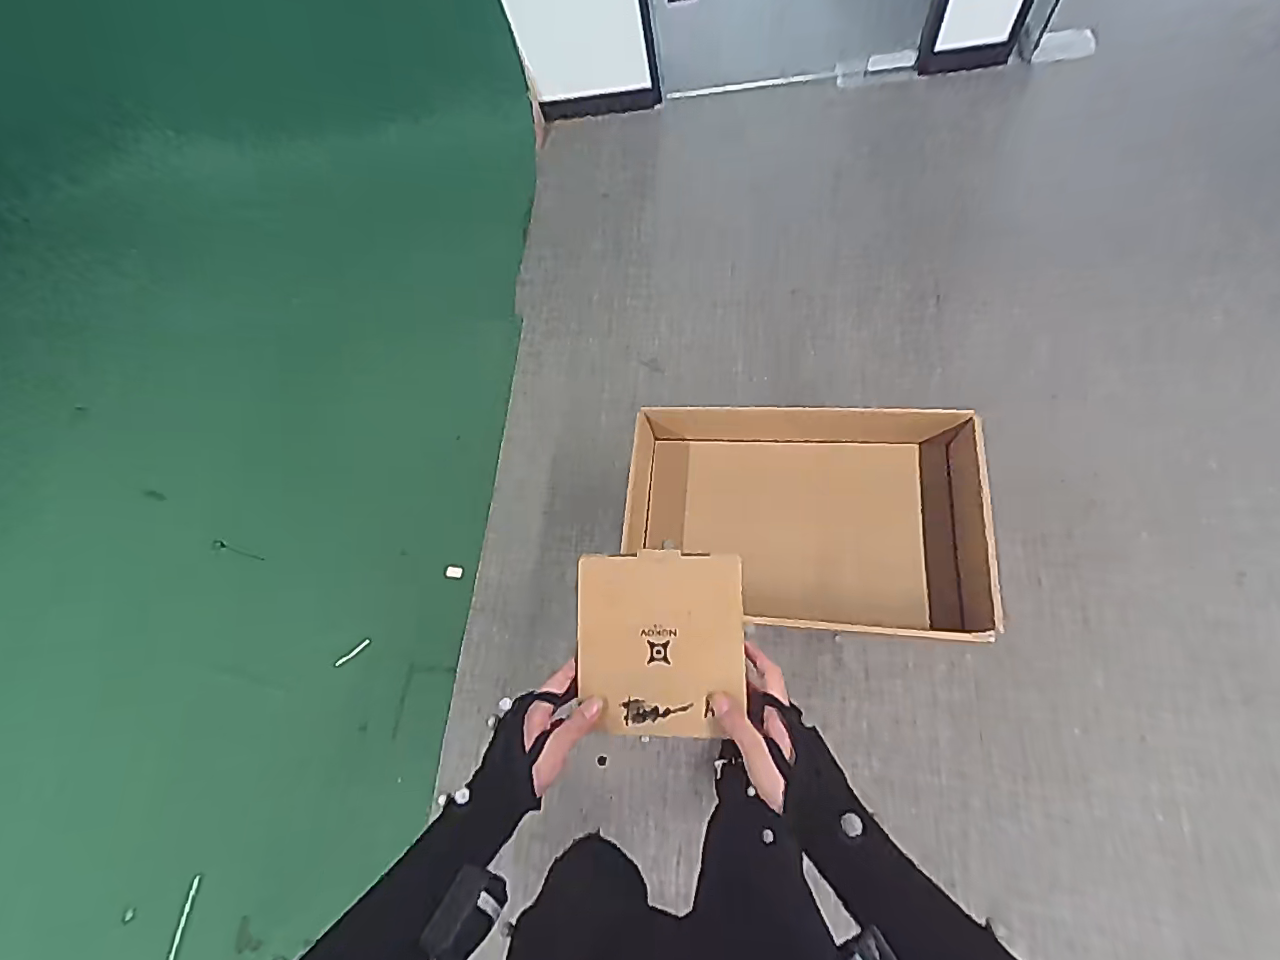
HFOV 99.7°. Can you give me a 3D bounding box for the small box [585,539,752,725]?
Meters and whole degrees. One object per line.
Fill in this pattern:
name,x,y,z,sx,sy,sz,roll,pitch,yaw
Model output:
small box,0.037,0.159,0.614,0.168,0.176,0.179,-1,82,8
